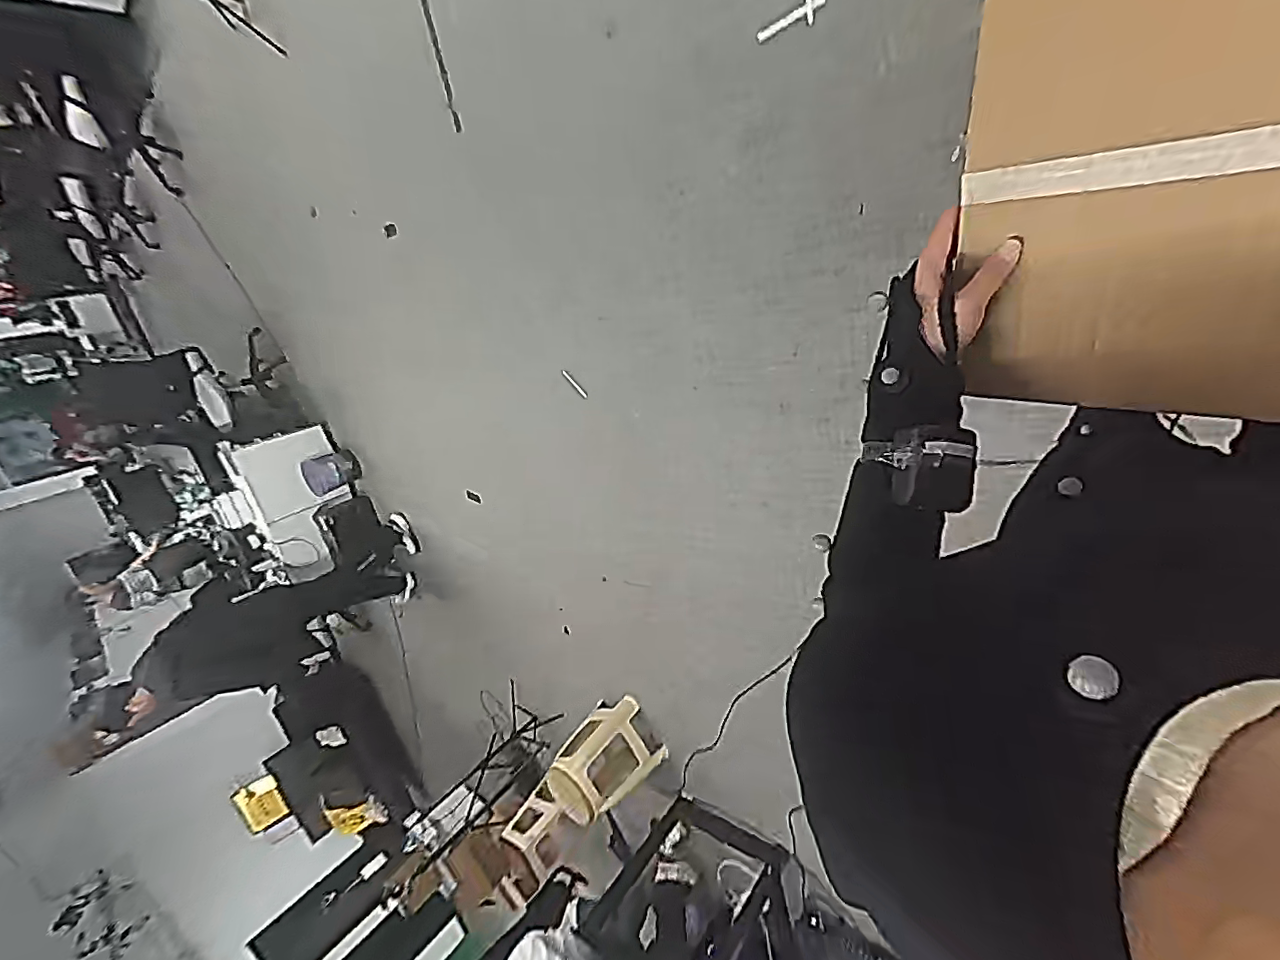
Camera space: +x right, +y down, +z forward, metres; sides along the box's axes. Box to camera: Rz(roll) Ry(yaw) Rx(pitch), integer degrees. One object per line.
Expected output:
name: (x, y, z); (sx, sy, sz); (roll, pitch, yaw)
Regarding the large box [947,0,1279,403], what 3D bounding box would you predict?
large box: (0.480, -0.239, 0.362); (0.408, 0.320, 0.320); (15, 123, 40)
